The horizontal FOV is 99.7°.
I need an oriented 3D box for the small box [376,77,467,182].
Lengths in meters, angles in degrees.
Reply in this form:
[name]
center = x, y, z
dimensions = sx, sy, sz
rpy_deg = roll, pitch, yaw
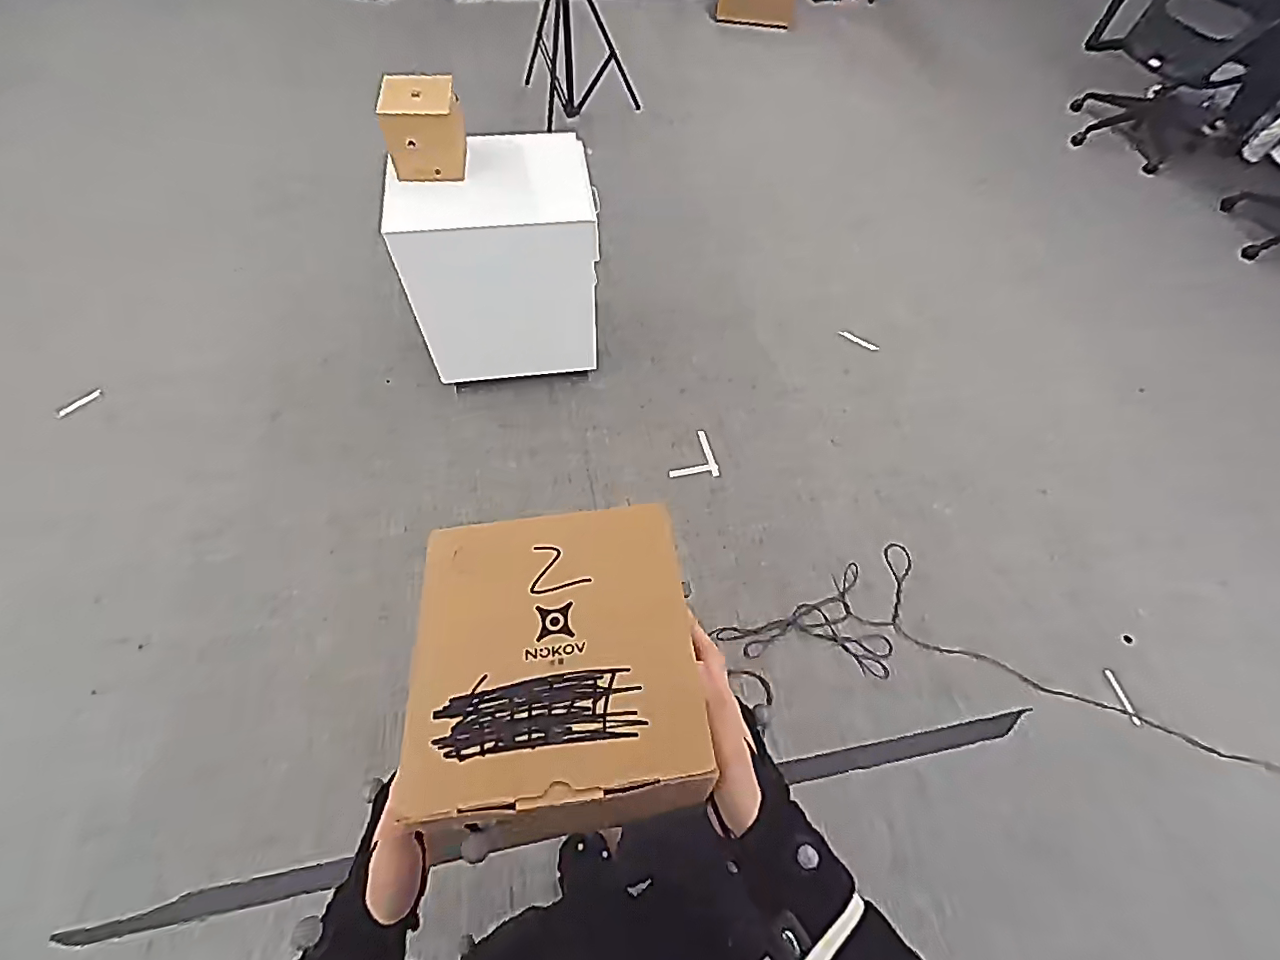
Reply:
[small box]
center = -0.538, -0.874, 1.355
dimensions = 0.168, 0.176, 0.179
rpy_deg = -4, 61, -6
